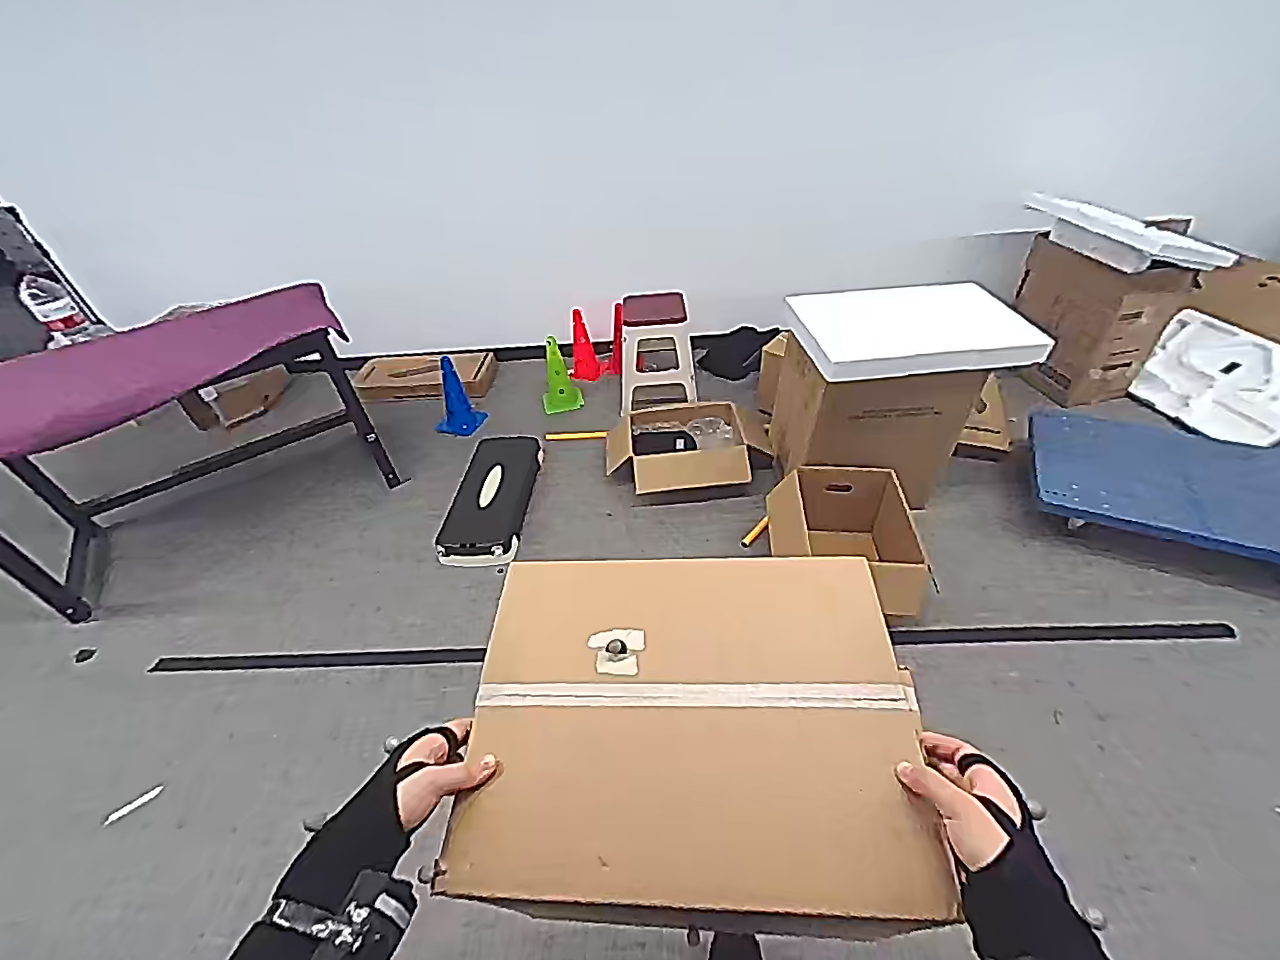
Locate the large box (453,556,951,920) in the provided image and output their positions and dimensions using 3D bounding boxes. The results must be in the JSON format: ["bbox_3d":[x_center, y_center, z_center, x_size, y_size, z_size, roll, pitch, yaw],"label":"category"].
[{"bbox_3d":[0.064,0.310,0.635,0.408,0.320,0.320,-3,47,7],"label":"large box"}]
